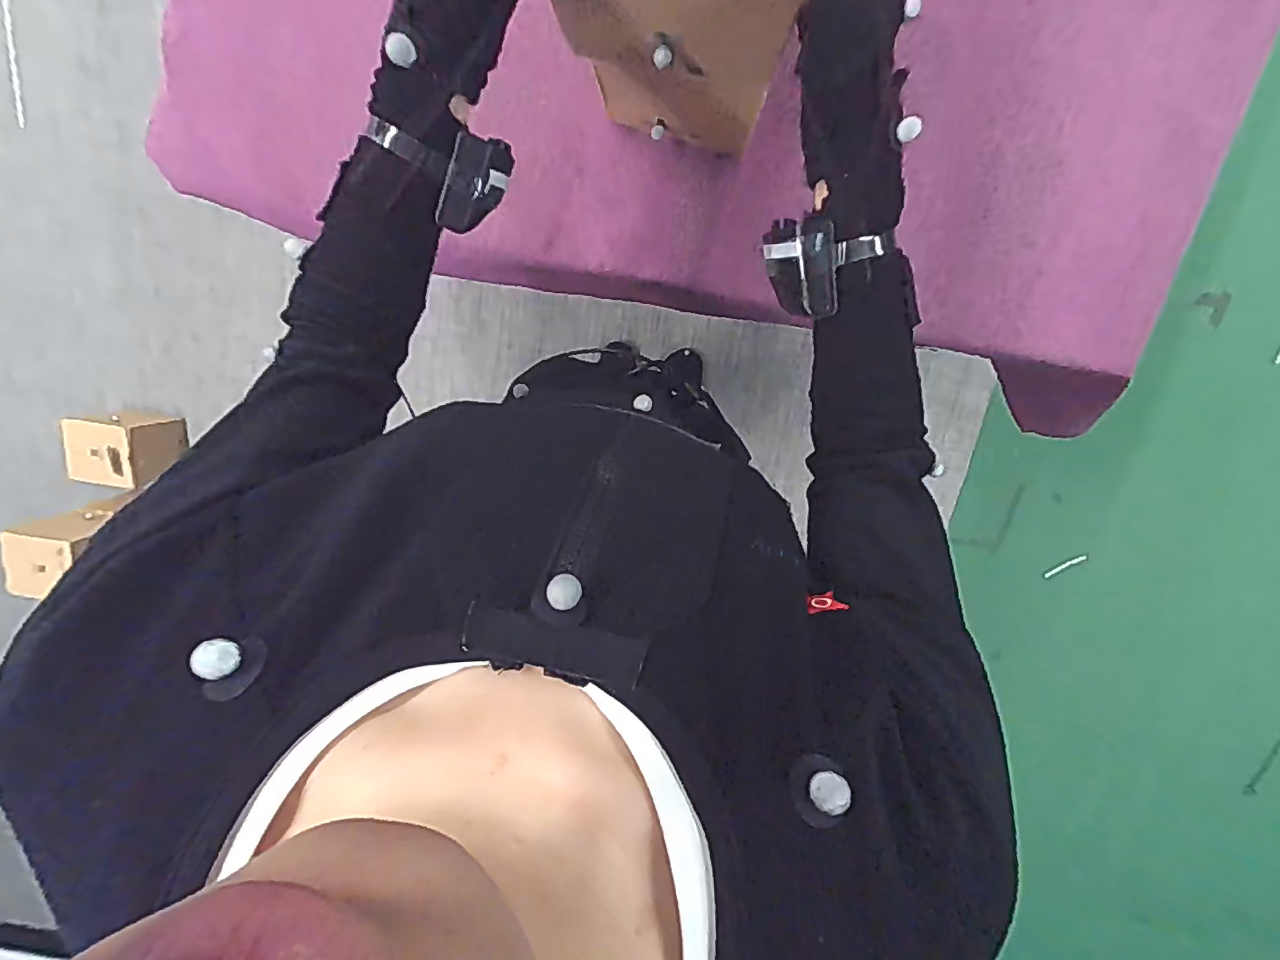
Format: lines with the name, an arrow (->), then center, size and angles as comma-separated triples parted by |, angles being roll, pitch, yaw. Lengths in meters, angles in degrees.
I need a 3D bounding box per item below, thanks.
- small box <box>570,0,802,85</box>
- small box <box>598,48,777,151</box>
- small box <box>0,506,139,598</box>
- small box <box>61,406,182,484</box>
small box -> 0.038, -0.395, 0.337 | 0.168, 0.176, 0.179 | 13, 106, 0
small box -> 0.060, -0.463, 0.533 | 0.168, 0.176, 0.179 | 15, 105, 0
small box -> -1.429, 0.175, 1.365 | 0.179, 0.176, 0.168 | 10, 105, 1
small box -> -1.381, -0.101, 1.457 | 0.179, 0.176, 0.168 | 9, 105, 1
